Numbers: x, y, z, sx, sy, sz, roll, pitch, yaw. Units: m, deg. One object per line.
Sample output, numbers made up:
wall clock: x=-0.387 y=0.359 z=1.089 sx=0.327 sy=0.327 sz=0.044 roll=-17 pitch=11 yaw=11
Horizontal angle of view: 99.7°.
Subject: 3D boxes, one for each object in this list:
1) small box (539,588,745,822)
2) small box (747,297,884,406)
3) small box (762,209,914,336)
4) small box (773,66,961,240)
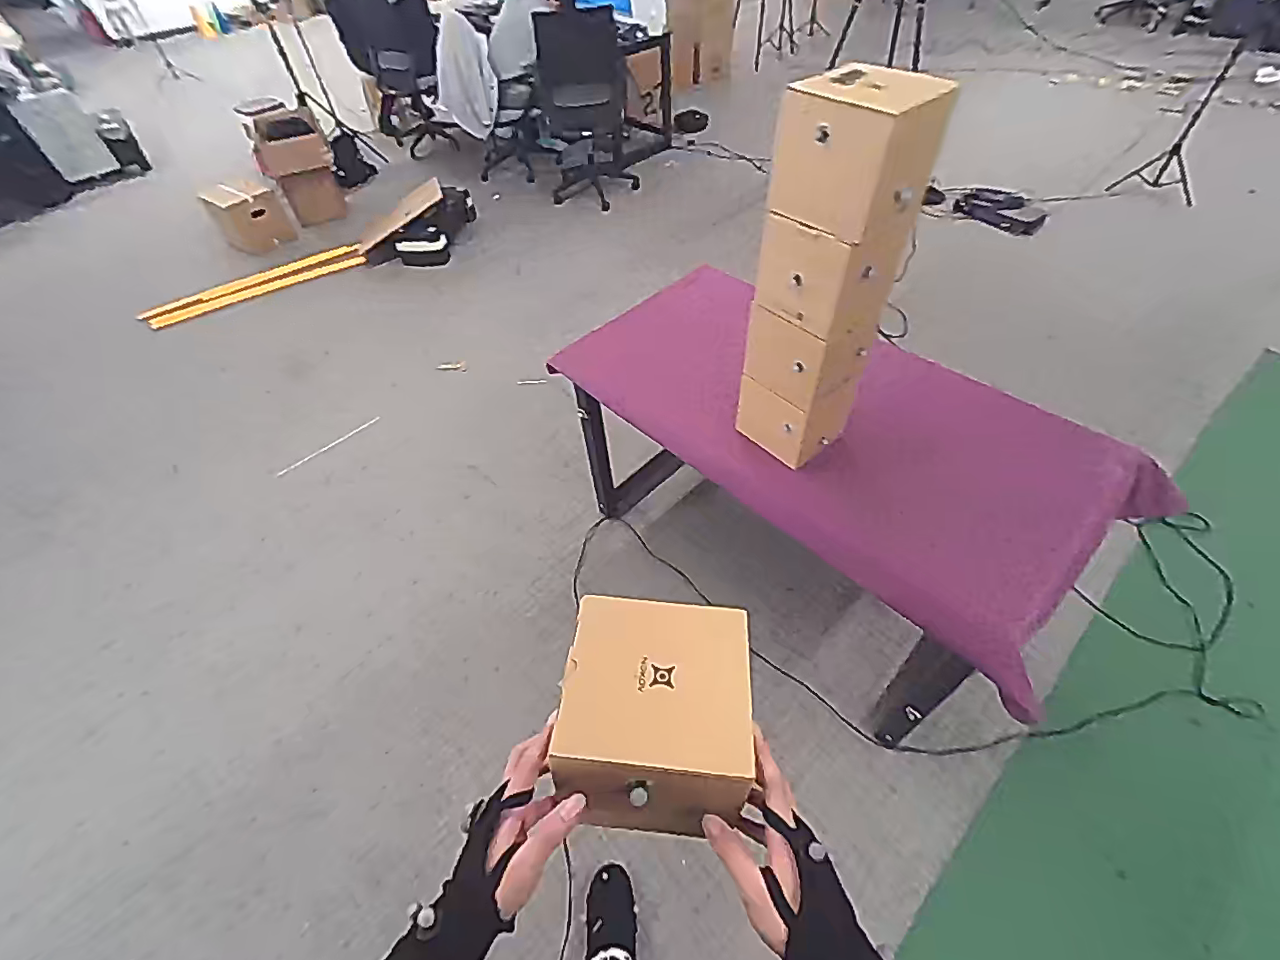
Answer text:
small box: x=0.009 y=0.234 z=0.562 sx=0.179 sy=0.176 sz=0.168 roll=3 pitch=41 yaw=5
small box: x=0.330 y=-0.267 z=1.047 sx=0.168 sy=0.176 sz=0.179 roll=-33 pitch=55 yaw=-22
small box: x=0.326 y=-0.375 z=0.925 sx=0.179 sy=0.176 sz=0.168 roll=-34 pitch=56 yaw=-22
small box: x=0.320 y=-0.483 z=0.801 sx=0.168 sy=0.176 sz=0.179 roll=-35 pitch=57 yaw=-24
